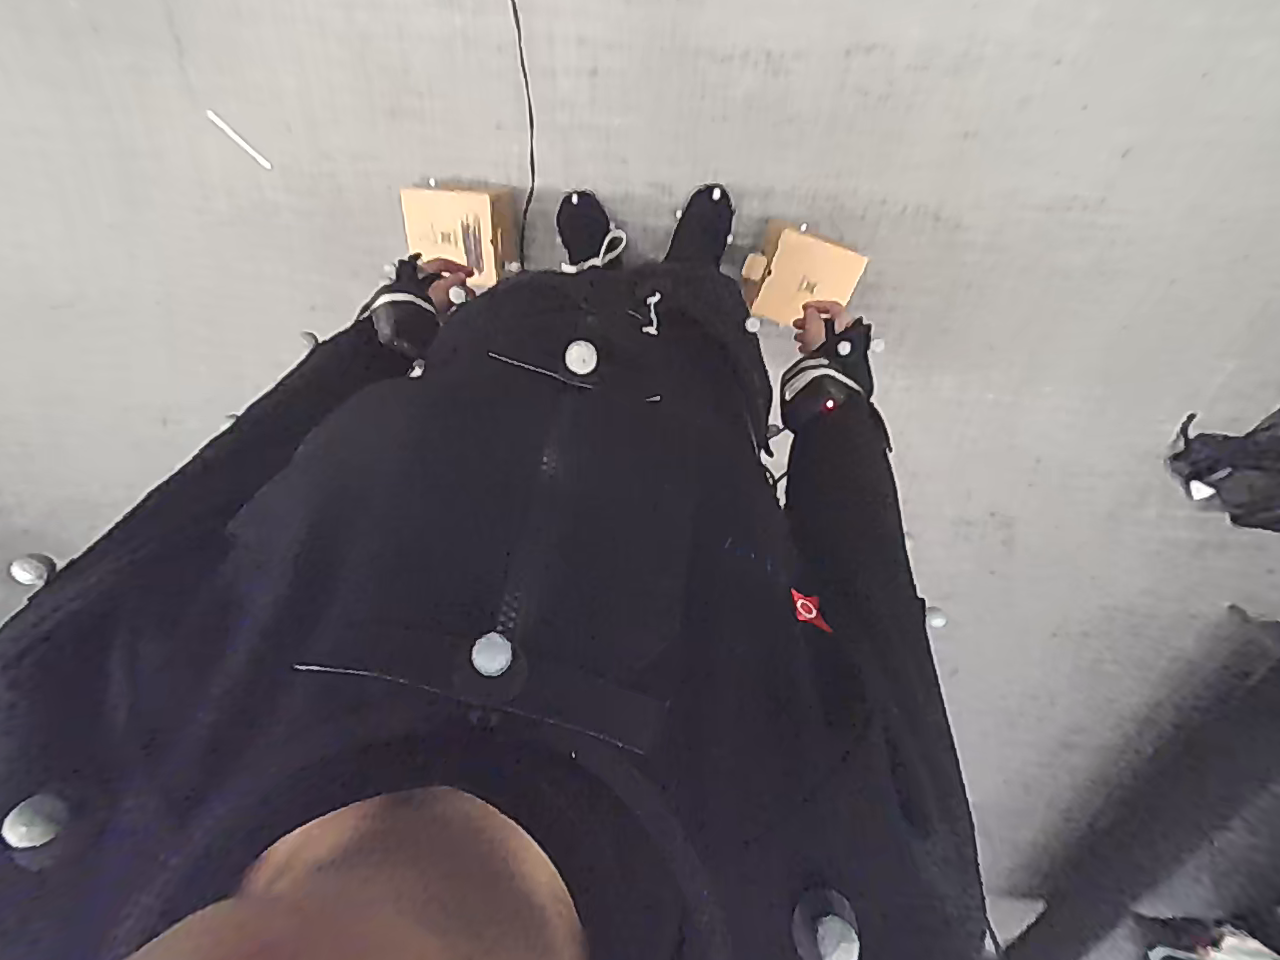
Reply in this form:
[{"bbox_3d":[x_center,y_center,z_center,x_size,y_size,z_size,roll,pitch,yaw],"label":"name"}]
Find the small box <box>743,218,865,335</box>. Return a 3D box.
[{"bbox_3d":[0.327,-0.426,1.118,0.179,0.176,0.168,16,123,-5],"label":"small box"}]
